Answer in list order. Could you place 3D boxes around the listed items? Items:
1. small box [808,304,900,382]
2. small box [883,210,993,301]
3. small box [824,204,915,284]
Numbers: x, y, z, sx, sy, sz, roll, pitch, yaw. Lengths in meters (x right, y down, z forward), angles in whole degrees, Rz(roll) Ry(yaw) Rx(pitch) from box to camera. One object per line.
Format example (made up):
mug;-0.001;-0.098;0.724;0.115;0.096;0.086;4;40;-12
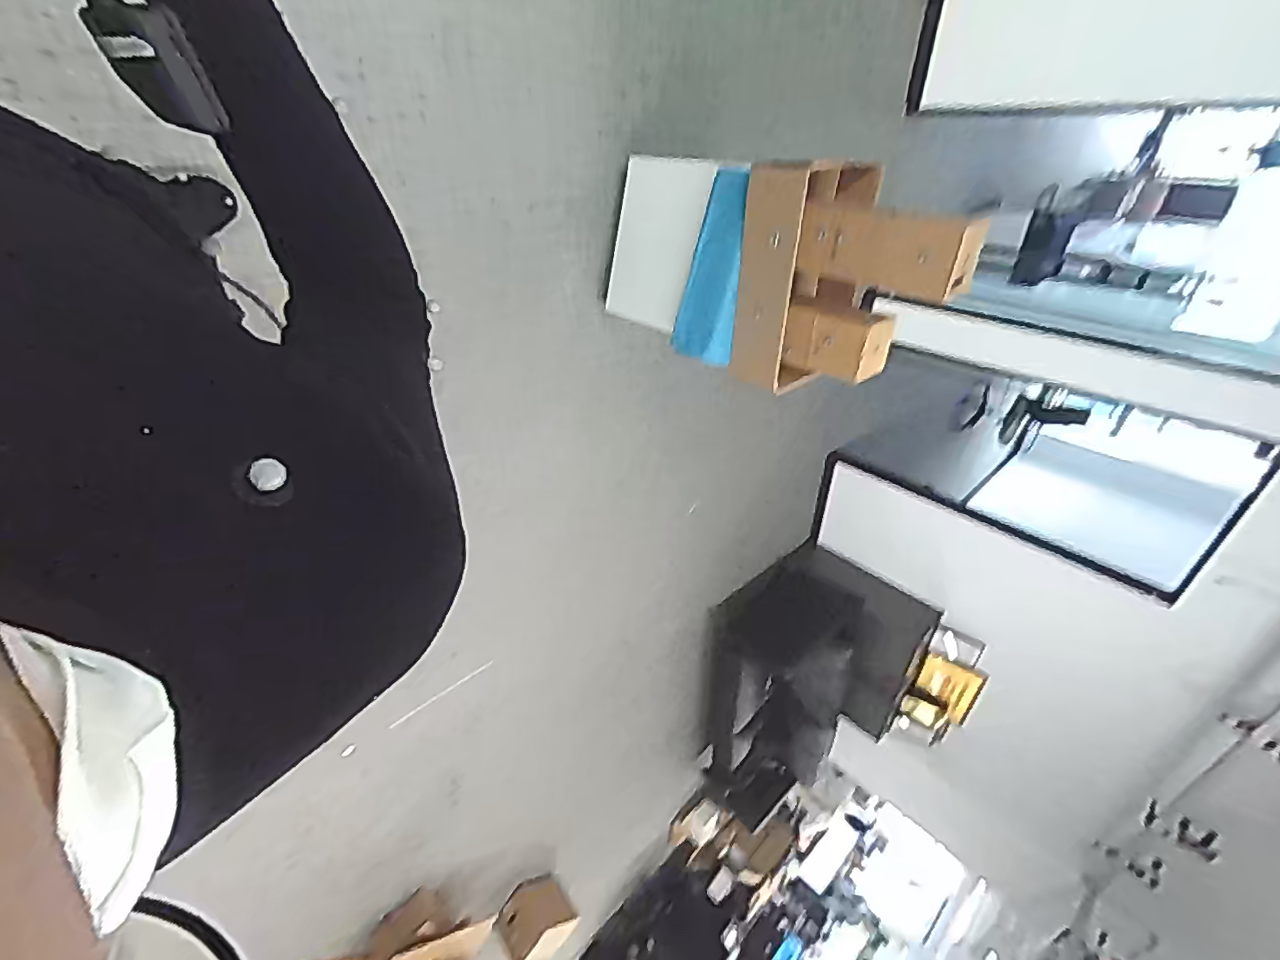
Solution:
small box;0.627;-0.411;1.594;0.179;0.176;0.168;-26;132;-36
small box;0.730;-0.562;1.341;0.168;0.176;0.179;-28;132;-36
small box;0.622;-0.634;1.441;0.179;0.176;0.168;-26;132;-35
